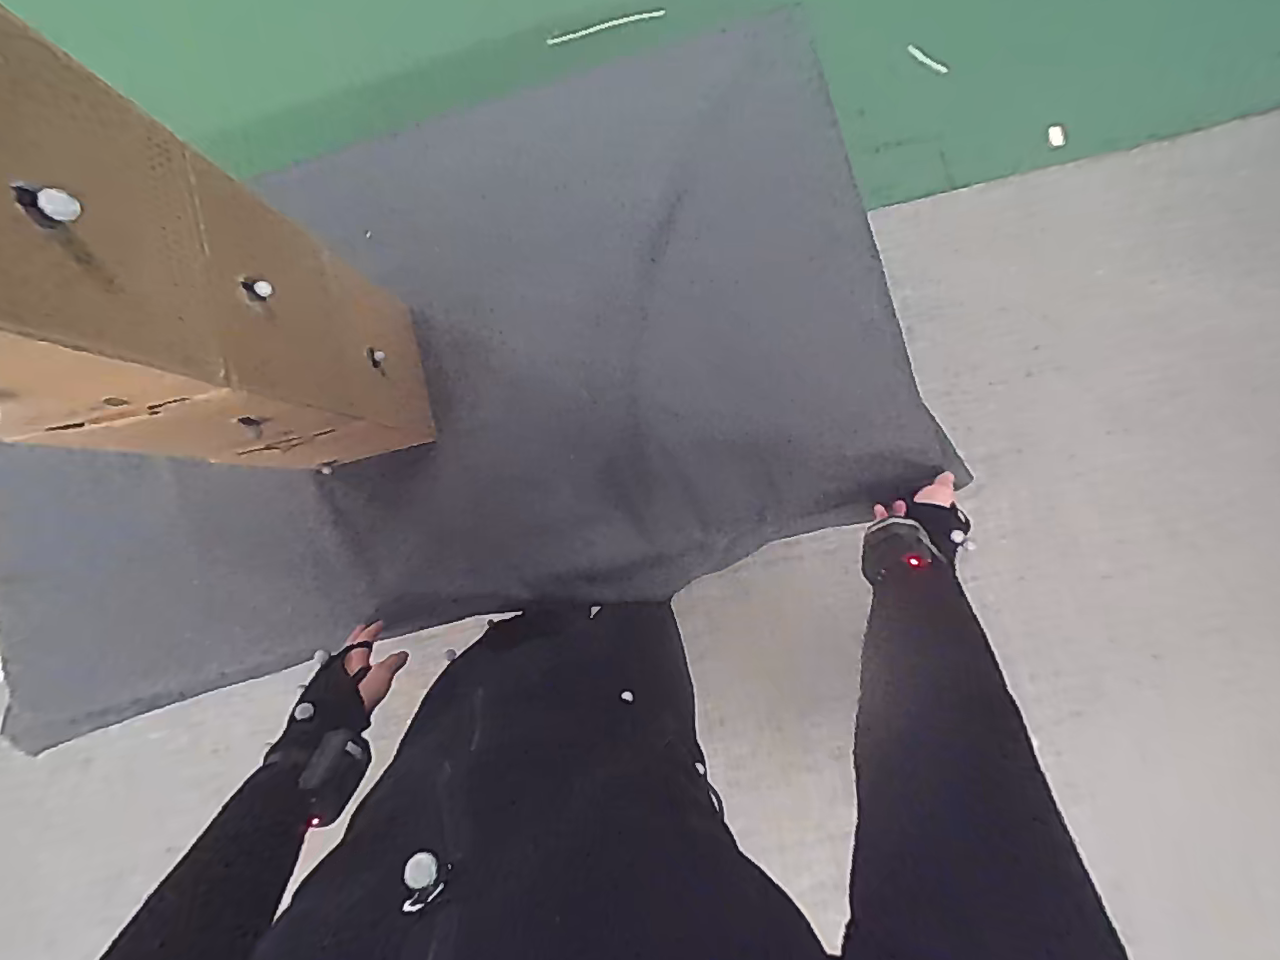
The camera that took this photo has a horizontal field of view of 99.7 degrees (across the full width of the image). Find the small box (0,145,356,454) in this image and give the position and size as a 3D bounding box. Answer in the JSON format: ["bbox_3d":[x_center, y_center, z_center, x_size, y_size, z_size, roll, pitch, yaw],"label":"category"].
[{"bbox_3d":[-0.363,-0.122,0.441,0.168,0.176,0.179,-13,87,2],"label":"small box"}]

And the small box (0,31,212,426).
[{"bbox_3d":[-0.370,-0.128,0.277,0.168,0.176,0.179,-12,89,1],"label":"small box"}]

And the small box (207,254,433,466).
[{"bbox_3d":[-0.354,-0.116,0.602,0.168,0.176,0.179,-14,87,3],"label":"small box"}]
